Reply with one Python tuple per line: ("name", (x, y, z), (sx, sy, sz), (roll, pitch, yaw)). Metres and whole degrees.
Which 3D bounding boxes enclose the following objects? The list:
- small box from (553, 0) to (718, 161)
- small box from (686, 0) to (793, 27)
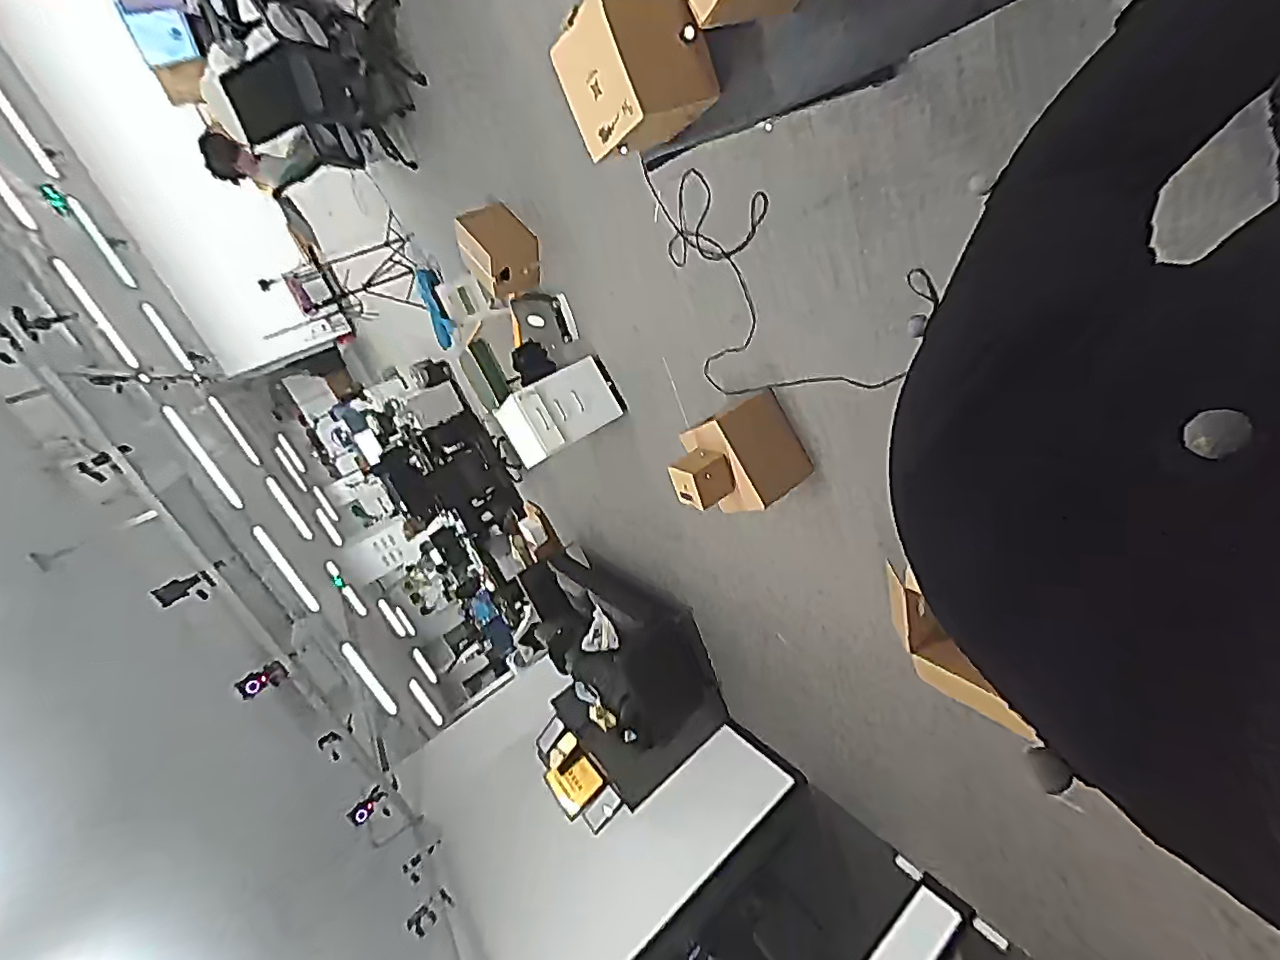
("small box", (-0.006, -0.655, 0.870), (0.168, 0.176, 0.179), (9, 127, 59))
("small box", (0.133, -0.663, 0.601), (0.168, 0.176, 0.179), (61, 155, -8))
